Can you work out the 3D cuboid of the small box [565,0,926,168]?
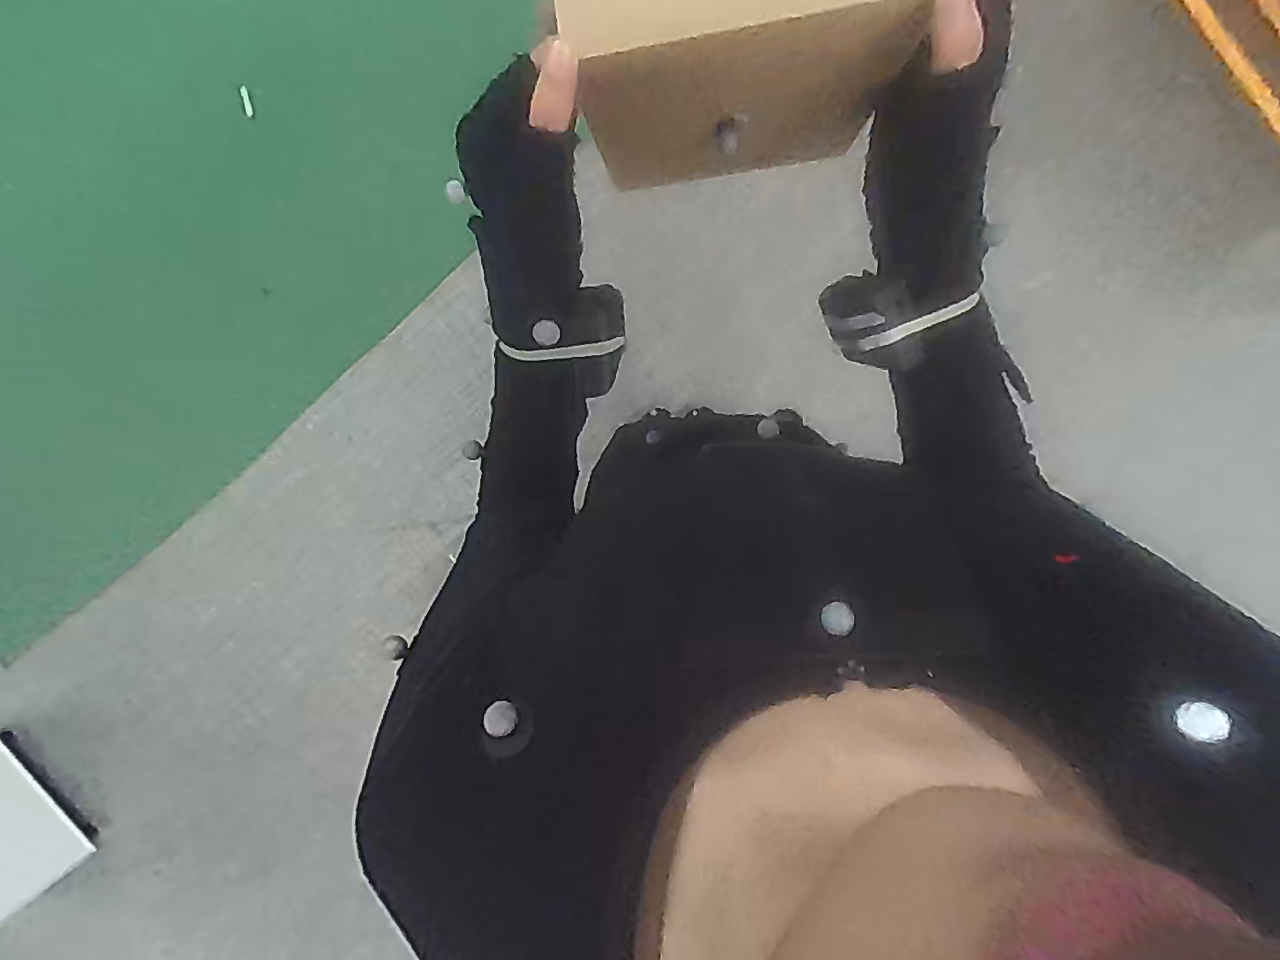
[{"bbox_3d":[0.049,-0.298,0.301,0.168,0.176,0.179,-5,100,7],"label":"small box"}]
